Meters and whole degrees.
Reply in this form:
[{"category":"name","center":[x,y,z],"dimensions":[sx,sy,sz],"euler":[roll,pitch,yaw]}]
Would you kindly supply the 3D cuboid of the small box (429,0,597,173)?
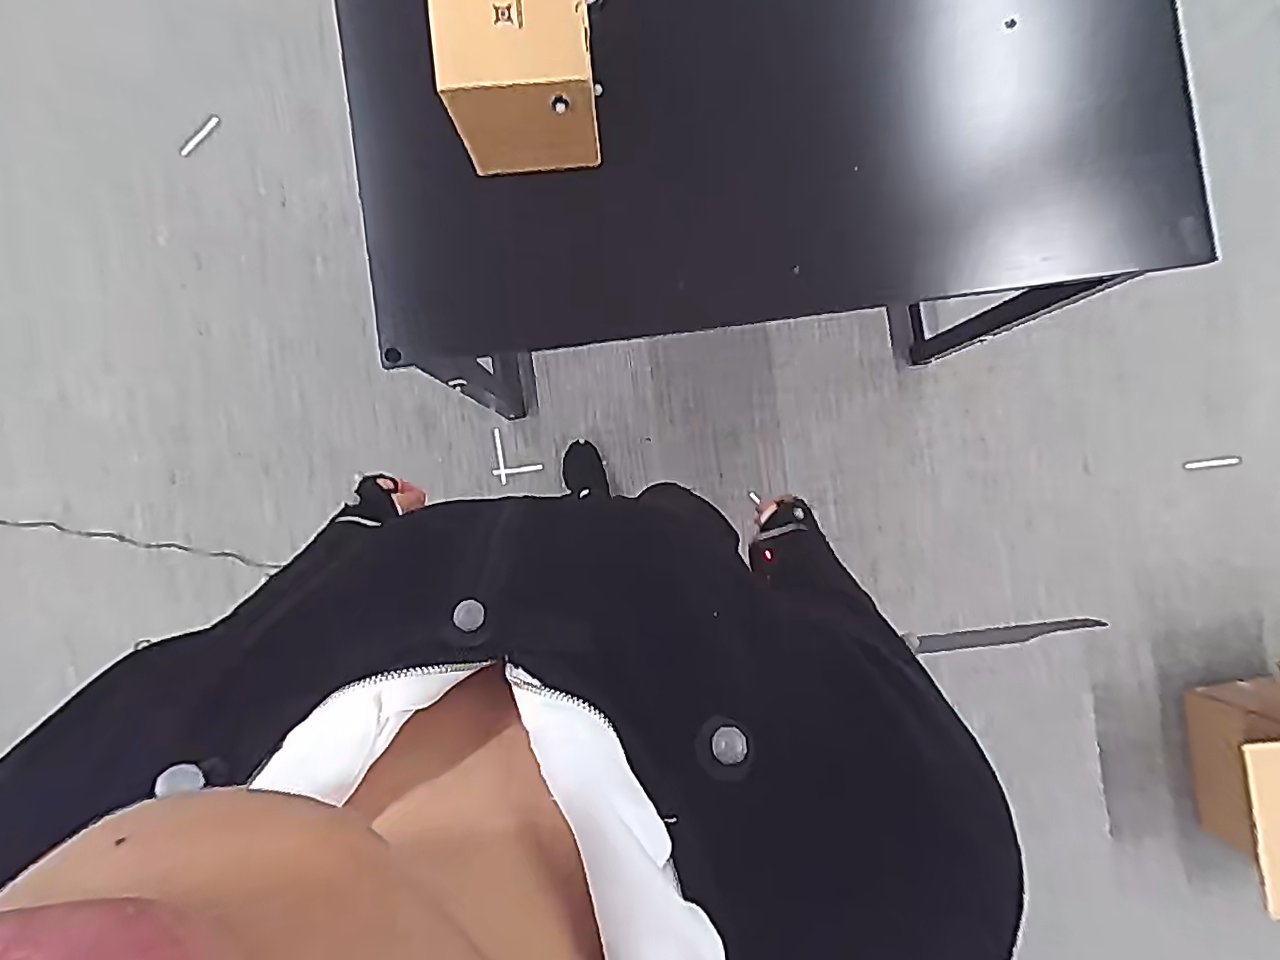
[{"category":"small box","center":[-0.152,-0.523,0.695],"dimensions":[0.179,0.176,0.168],"euler":[-6,89,-2]}]
